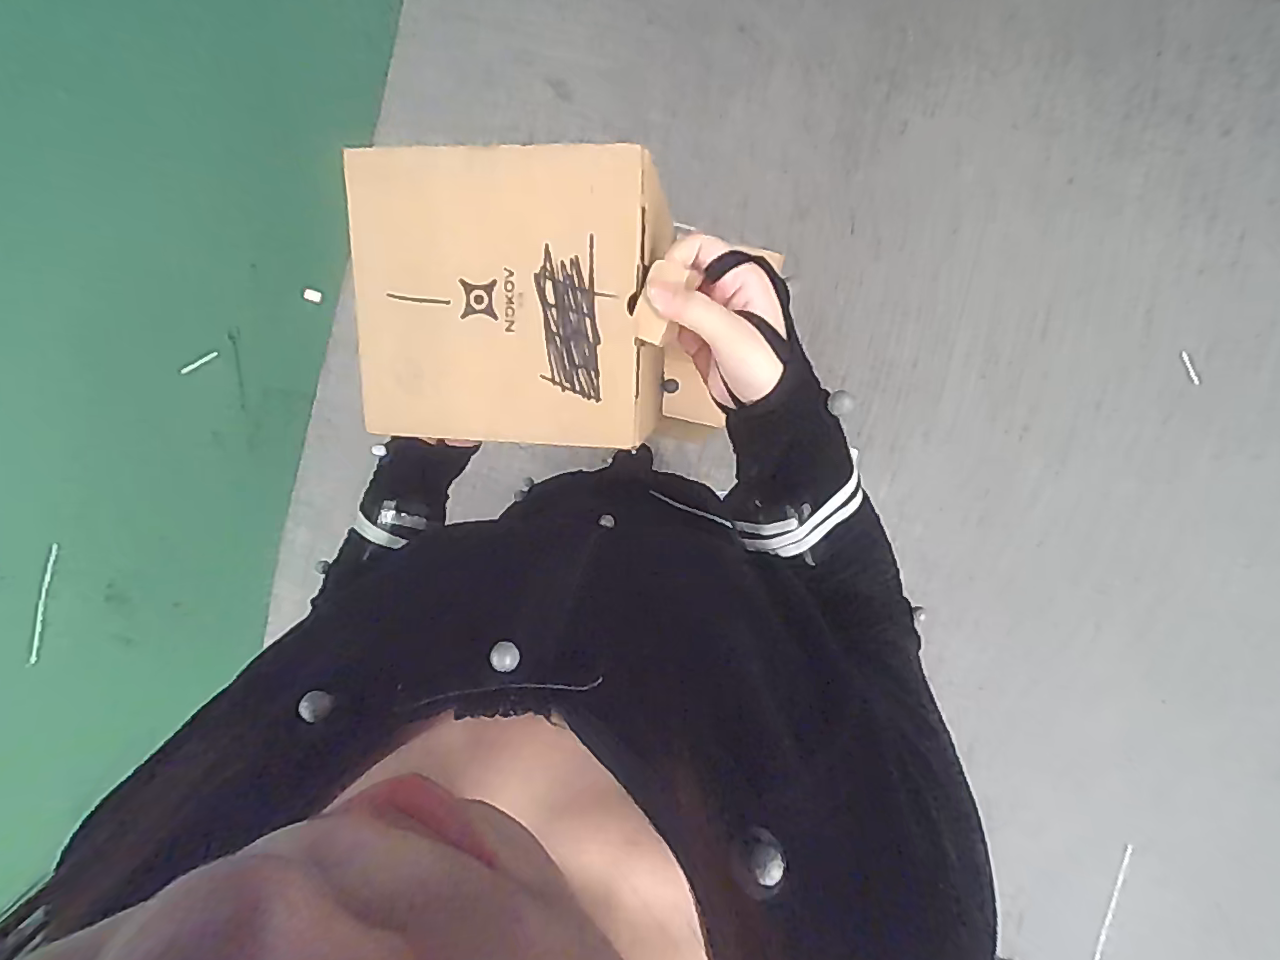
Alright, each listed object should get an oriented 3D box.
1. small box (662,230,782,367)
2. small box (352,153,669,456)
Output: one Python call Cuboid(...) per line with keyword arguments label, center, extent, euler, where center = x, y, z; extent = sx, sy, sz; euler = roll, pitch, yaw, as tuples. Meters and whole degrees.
Cuboid(label="small box", center=(0.127, -0.304, 0.942), extent=(0.179, 0.176, 0.168), euler=(13, 92, 2))
Cuboid(label="small box", center=(-0.073, -0.119, 0.395), extent=(0.179, 0.176, 0.168), euler=(4, 104, 7))
